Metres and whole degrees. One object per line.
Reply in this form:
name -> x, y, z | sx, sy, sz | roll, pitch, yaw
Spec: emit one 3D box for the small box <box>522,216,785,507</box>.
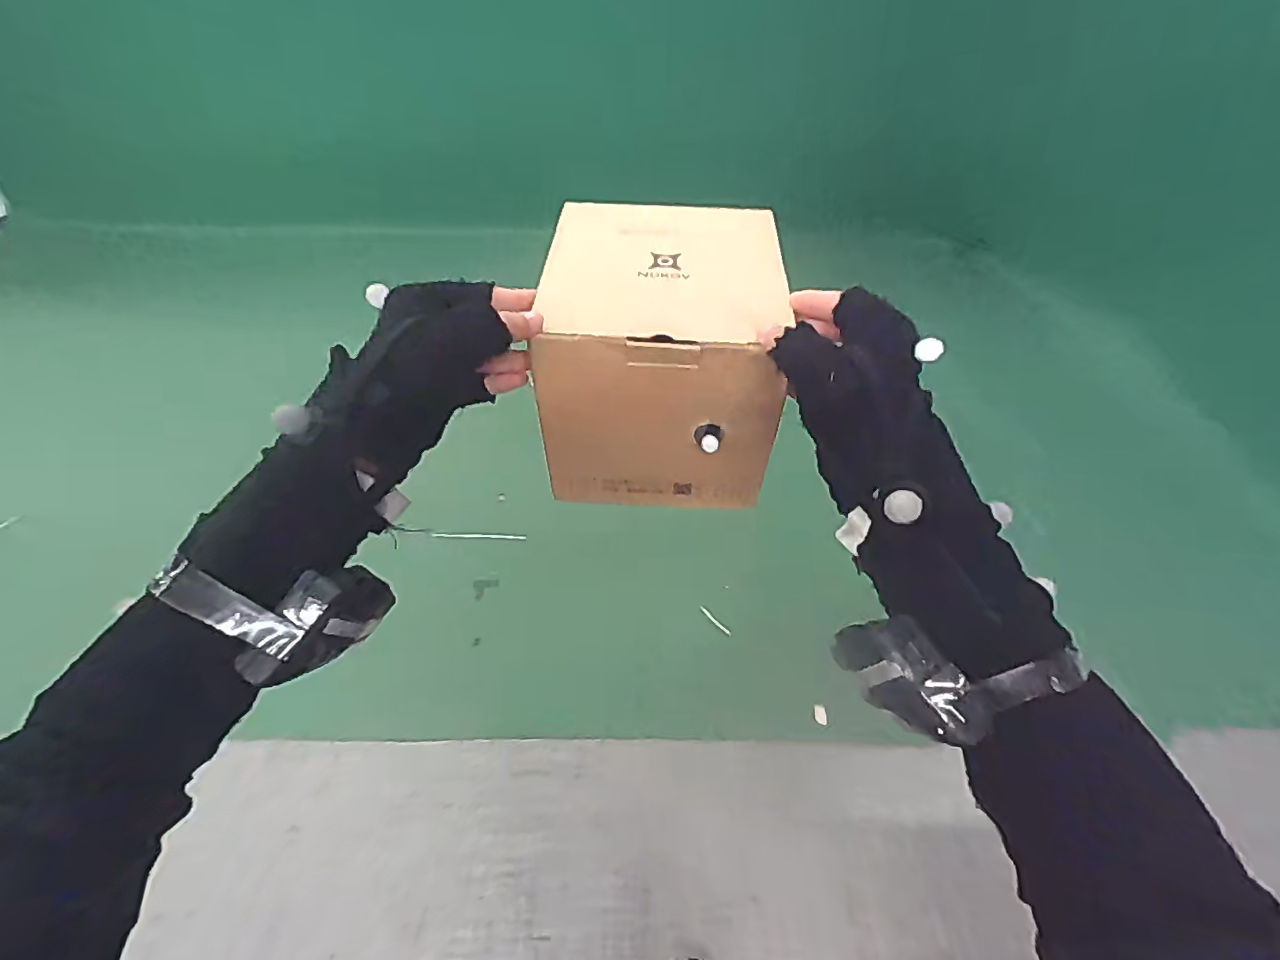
small box -> 0.010, -0.093, 0.443 | 0.168, 0.176, 0.179 | 2, 49, 0
